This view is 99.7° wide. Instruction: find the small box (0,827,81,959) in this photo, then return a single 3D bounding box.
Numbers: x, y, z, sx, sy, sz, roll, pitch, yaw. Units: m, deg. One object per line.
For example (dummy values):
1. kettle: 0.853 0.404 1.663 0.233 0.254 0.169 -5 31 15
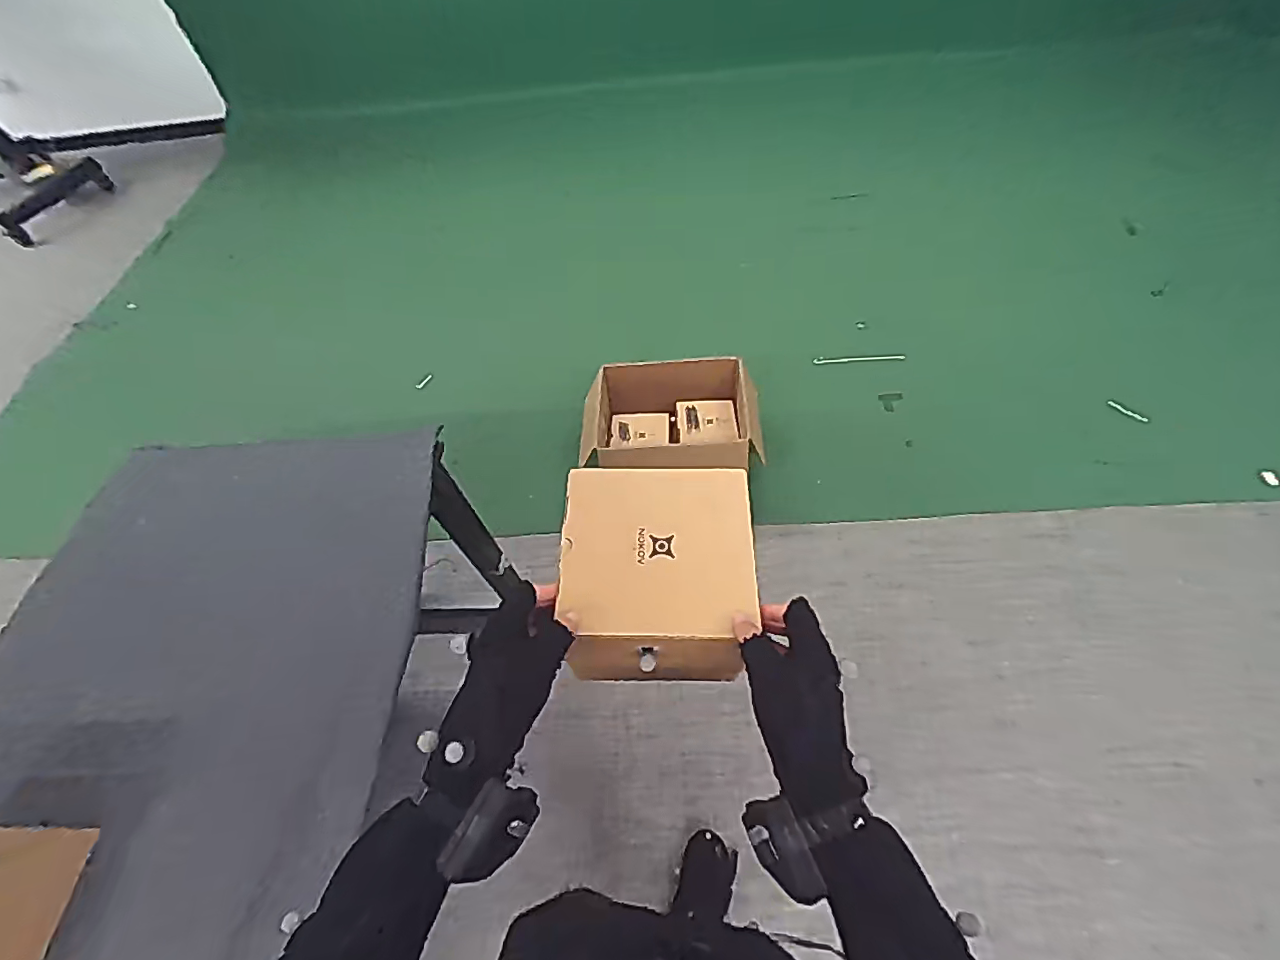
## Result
1. small box: -0.728 0.444 0.530 0.168 0.176 0.179 -3 56 4
